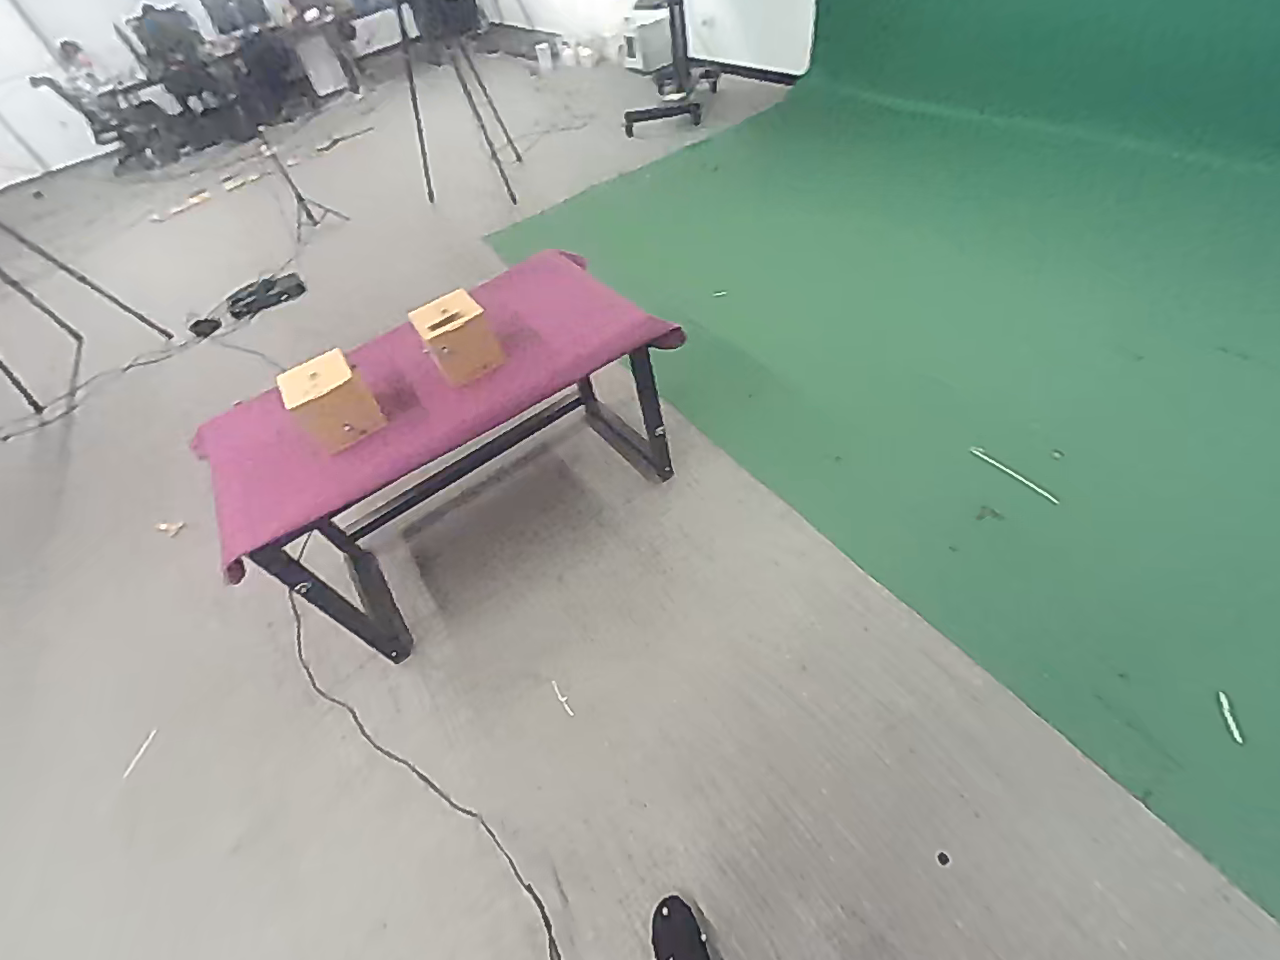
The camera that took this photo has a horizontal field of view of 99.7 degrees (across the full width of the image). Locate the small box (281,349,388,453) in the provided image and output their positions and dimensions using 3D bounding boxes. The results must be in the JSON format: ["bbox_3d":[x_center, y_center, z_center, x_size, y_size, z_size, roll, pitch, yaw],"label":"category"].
[{"bbox_3d":[-0.787,-0.201,1.398,0.168,0.176,0.179,-32,52,-14],"label":"small box"}]
